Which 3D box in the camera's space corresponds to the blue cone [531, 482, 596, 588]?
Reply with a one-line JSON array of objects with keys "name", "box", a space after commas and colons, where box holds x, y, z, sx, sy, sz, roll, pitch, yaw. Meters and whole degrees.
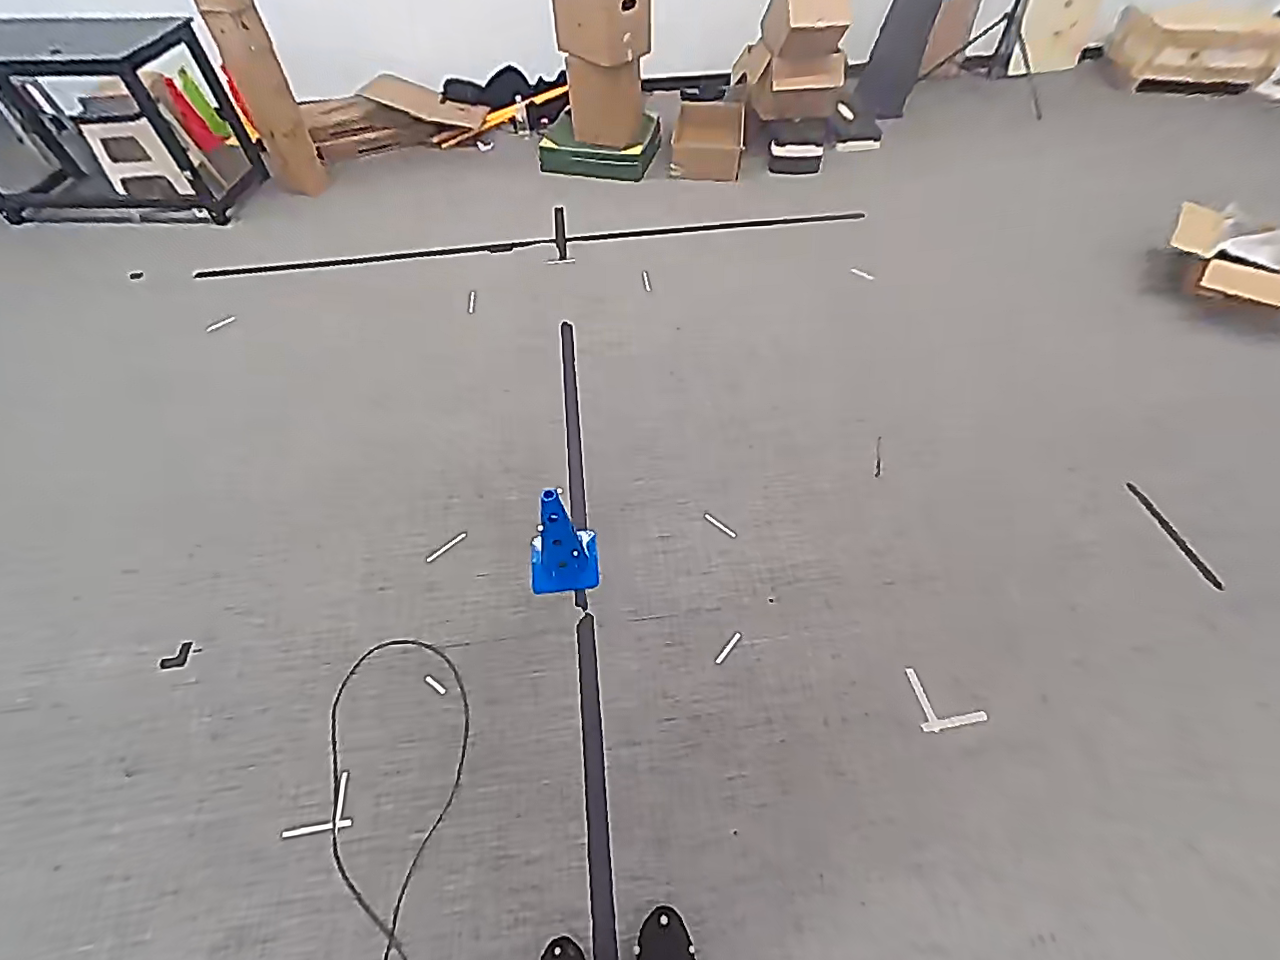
[{"name": "blue cone", "box": [-0.233, 0.137, 1.493, 0.193, 0.380, 0.192, -7, 54, -4]}]
